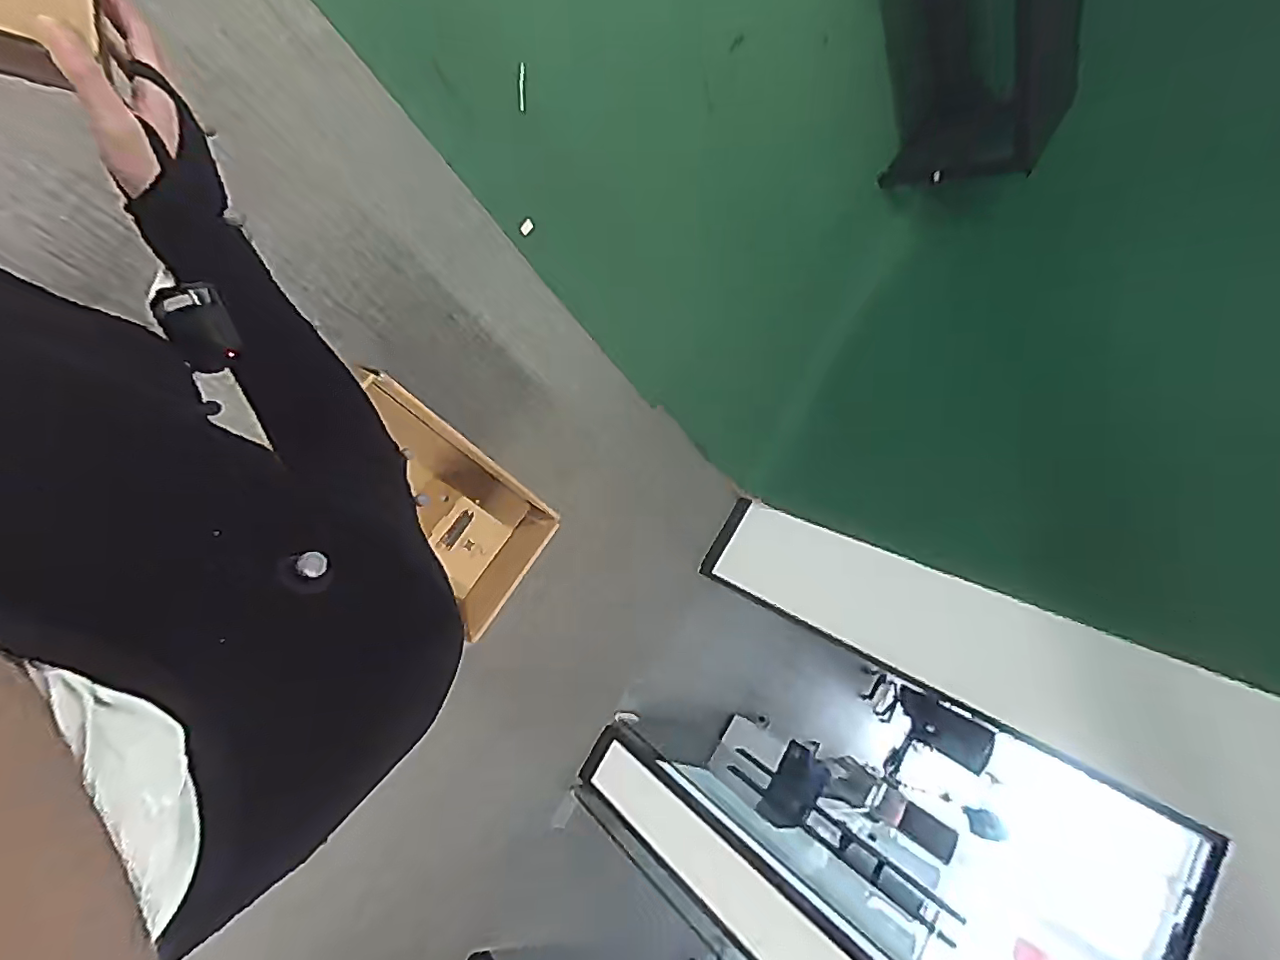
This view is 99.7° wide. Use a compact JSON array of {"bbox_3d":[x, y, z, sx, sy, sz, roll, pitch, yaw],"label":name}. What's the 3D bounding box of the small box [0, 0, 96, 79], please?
[{"bbox_3d":[-0.486,-0.401,0.352,0.168,0.176,0.179,-6,112,-40],"label":"small box"}]
